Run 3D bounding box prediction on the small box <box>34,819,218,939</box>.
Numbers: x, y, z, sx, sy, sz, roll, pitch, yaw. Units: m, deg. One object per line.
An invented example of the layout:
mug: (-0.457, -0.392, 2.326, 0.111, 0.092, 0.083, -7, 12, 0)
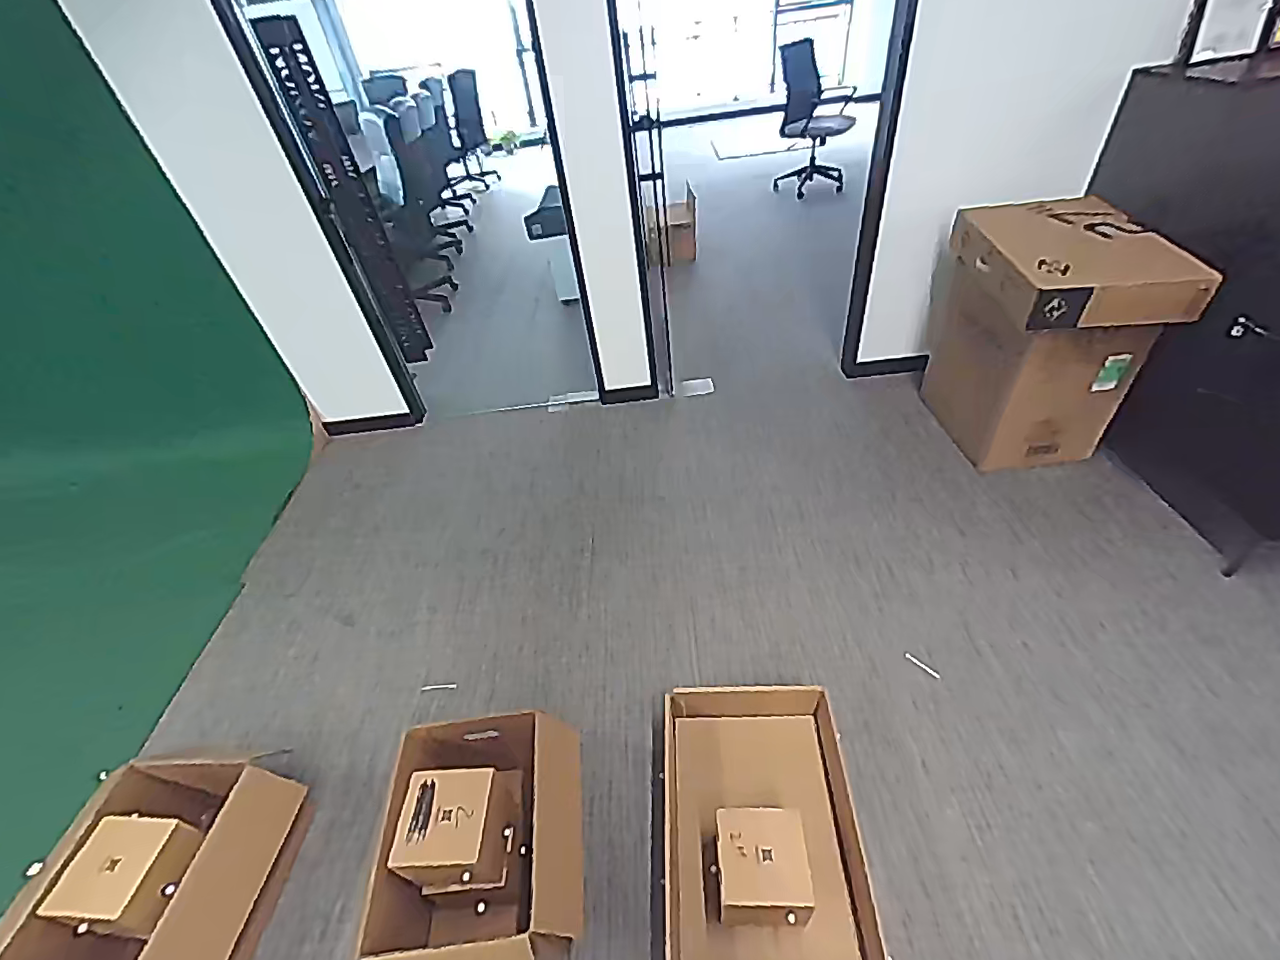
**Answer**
small box: (-1.028, 0.816, 1.105, 0.179, 0.176, 0.168, -2, 41, 6)
